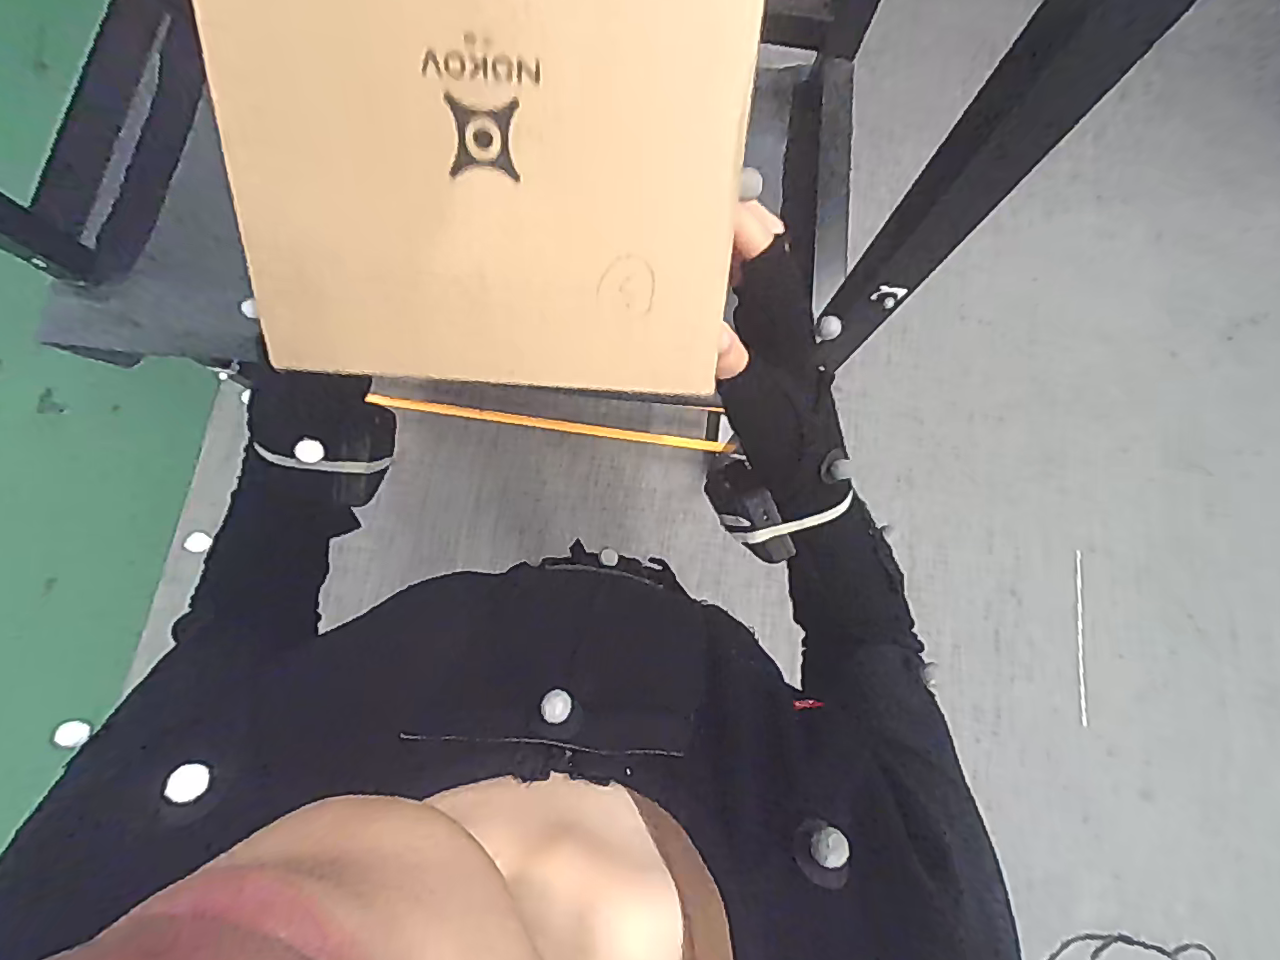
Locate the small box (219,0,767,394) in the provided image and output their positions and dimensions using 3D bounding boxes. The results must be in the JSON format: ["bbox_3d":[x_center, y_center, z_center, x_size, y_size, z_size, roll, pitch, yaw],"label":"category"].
[{"bbox_3d":[-0.047,-0.151,0.247,0.168,0.176,0.179,4,113,-3],"label":"small box"}]
